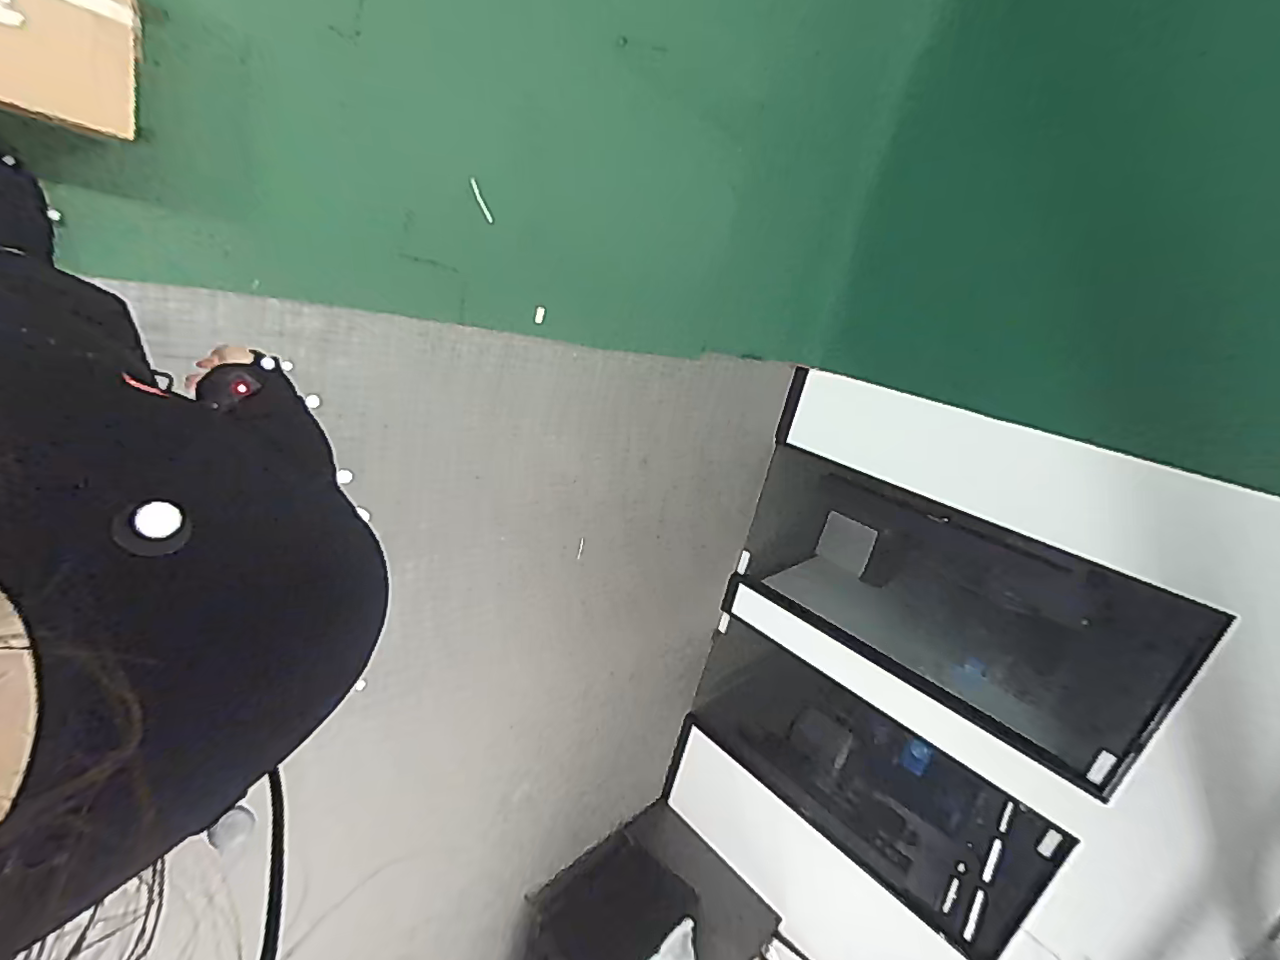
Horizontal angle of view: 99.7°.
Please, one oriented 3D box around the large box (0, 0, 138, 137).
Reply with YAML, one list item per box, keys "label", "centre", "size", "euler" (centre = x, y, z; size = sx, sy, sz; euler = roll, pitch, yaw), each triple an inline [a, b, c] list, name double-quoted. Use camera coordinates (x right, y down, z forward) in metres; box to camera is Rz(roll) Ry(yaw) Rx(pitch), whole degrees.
- label: "large box"
  centre: [-0.947, -0.690, 0.696]
  size: [0.408, 0.320, 0.320]
  euler: [-5, 117, -49]
